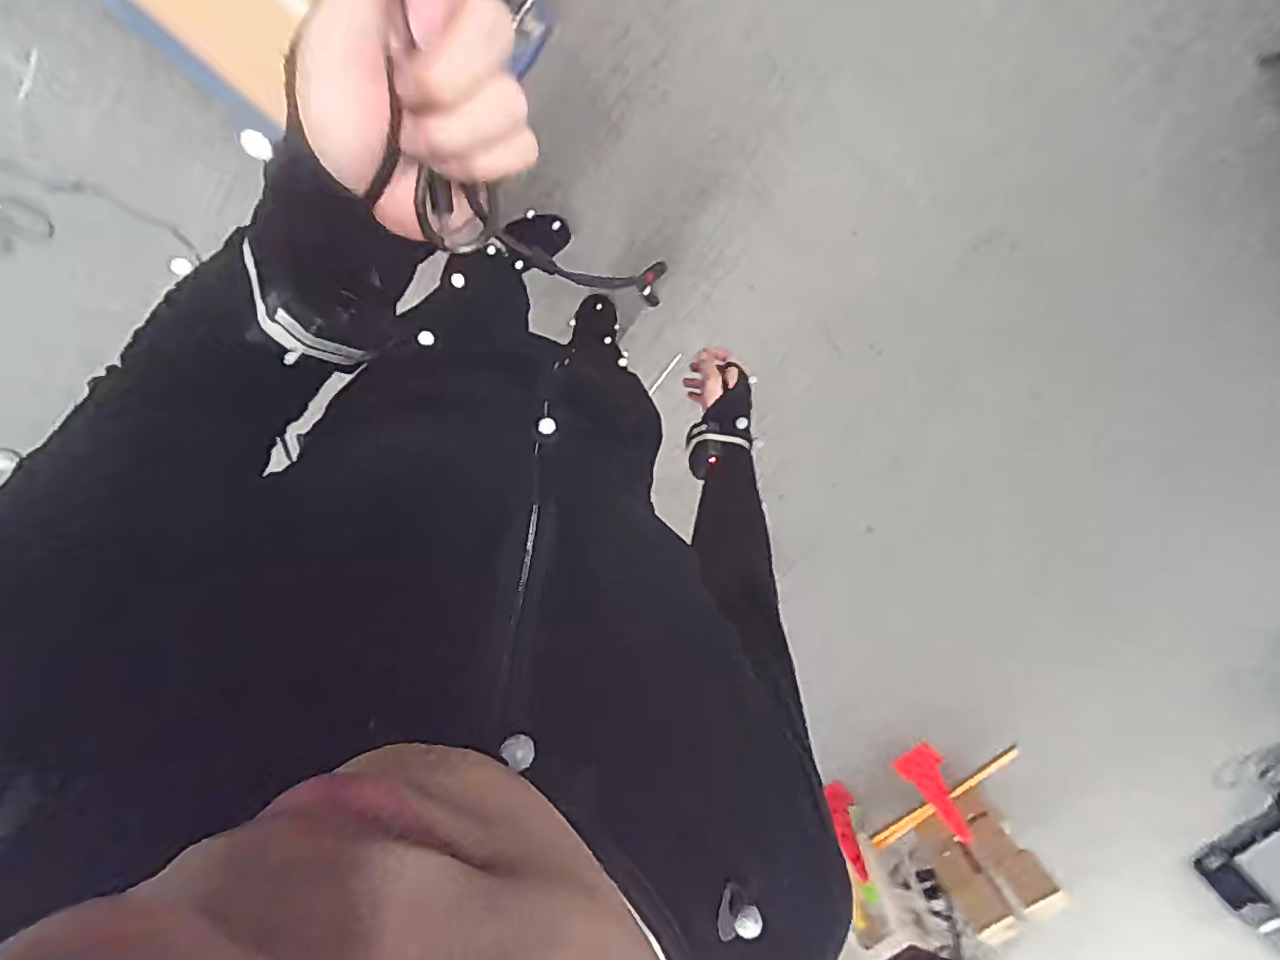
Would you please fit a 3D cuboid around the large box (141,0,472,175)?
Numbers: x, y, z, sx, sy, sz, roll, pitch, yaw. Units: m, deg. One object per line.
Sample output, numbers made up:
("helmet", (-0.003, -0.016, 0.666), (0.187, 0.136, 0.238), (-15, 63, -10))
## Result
("large box", (-0.560, -0.802, 0.918), (0.408, 0.320, 0.320), (40, 104, -22))
